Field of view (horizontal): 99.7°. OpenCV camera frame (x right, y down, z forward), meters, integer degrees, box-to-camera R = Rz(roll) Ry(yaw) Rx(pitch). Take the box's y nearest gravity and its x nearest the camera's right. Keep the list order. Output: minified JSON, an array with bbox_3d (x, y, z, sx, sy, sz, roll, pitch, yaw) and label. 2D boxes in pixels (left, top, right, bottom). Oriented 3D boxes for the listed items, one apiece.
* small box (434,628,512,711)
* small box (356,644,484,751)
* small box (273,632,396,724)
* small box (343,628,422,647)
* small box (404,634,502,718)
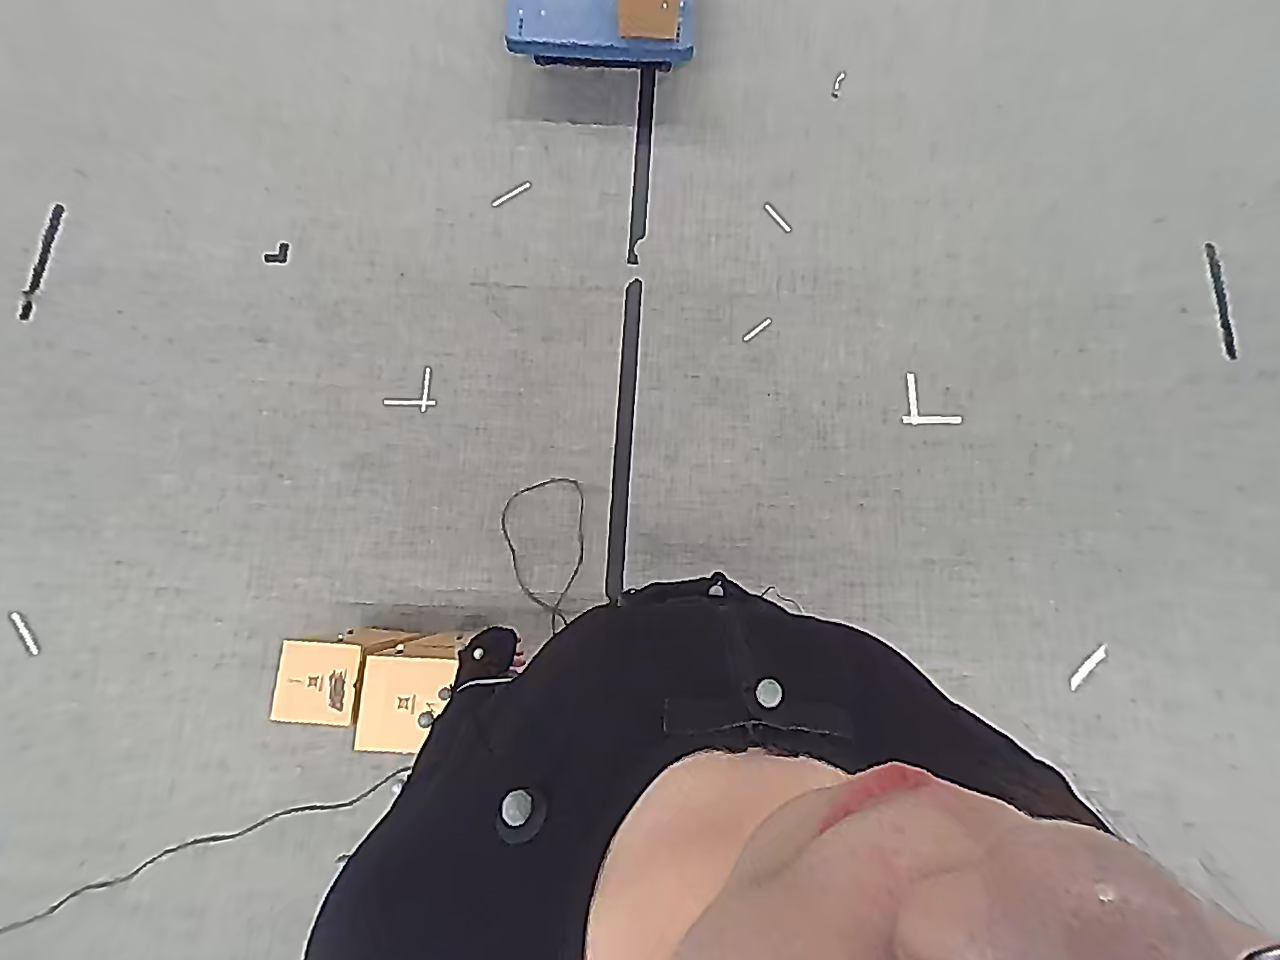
[{"bbox_3d":[-0.433,0.482,1.392,0.168,0.176,0.179,3,79,-1],"label":"small box"},{"bbox_3d":[-0.425,0.420,1.068,0.179,0.176,0.168,3,79,-2],"label":"small box"},{"bbox_3d":[-0.683,0.442,1.230,0.179,0.176,0.168,4,79,2],"label":"small box"},{"bbox_3d":[-0.683,0.476,1.392,0.179,0.176,0.168,5,79,1],"label":"small box"},{"bbox_3d":[-0.429,0.447,1.232,0.179,0.176,0.168,2,80,0],"label":"small box"}]
